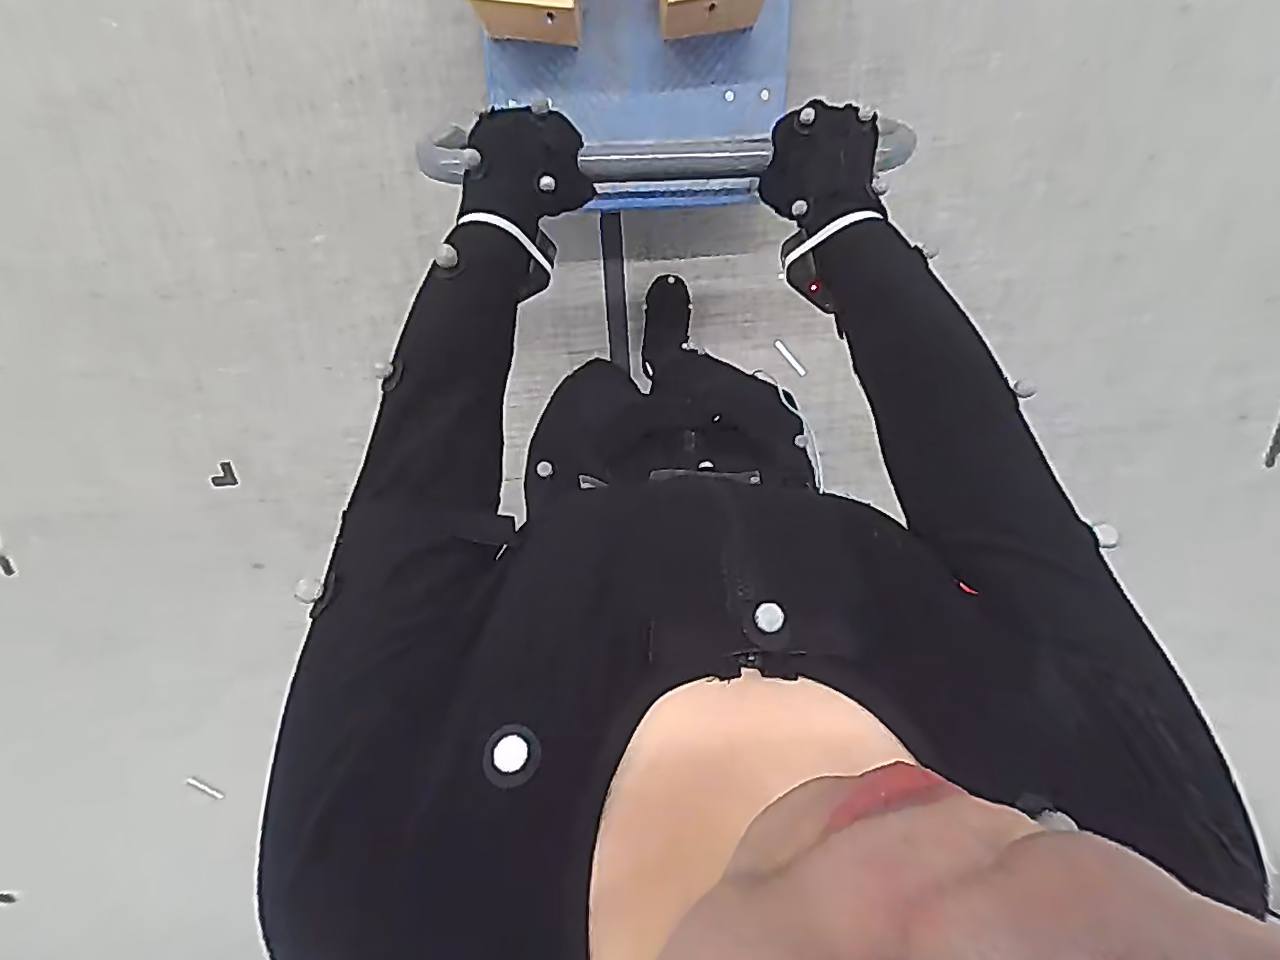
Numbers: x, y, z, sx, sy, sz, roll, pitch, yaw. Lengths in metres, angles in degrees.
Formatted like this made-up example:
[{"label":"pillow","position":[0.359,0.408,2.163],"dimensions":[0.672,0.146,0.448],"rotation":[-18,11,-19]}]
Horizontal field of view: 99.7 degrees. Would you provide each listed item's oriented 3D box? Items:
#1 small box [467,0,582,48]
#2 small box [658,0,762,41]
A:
[{"label":"small box","position":[-0.190,-0.859,0.907],"dimensions":[0.179,0.176,0.168],"rotation":[2,112,-4]},{"label":"small box","position":[0.117,-0.874,0.909],"dimensions":[0.179,0.176,0.168],"rotation":[-7,113,2]}]
